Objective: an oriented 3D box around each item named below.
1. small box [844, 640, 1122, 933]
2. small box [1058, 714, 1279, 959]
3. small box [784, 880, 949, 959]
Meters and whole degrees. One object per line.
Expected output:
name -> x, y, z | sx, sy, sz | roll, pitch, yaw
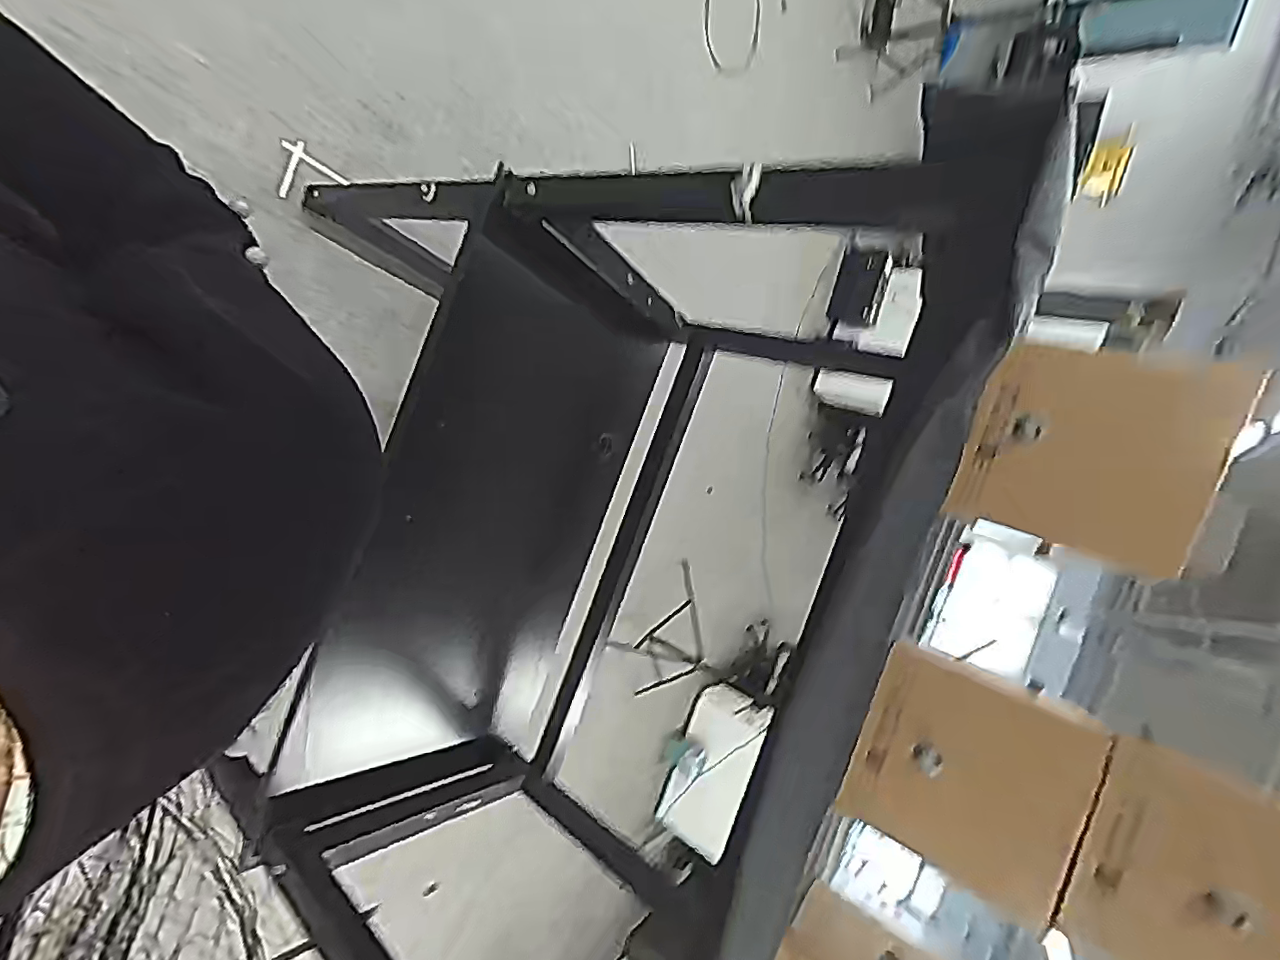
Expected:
small box -> 0.318, 0.269, 0.532 | 0.179, 0.176, 0.168 | 25, 85, -59
small box -> 0.451, 0.317, 0.448 | 0.179, 0.176, 0.168 | 30, 82, -58
small box -> 0.214, 0.549, 0.529 | 0.179, 0.176, 0.168 | 30, 81, -59
